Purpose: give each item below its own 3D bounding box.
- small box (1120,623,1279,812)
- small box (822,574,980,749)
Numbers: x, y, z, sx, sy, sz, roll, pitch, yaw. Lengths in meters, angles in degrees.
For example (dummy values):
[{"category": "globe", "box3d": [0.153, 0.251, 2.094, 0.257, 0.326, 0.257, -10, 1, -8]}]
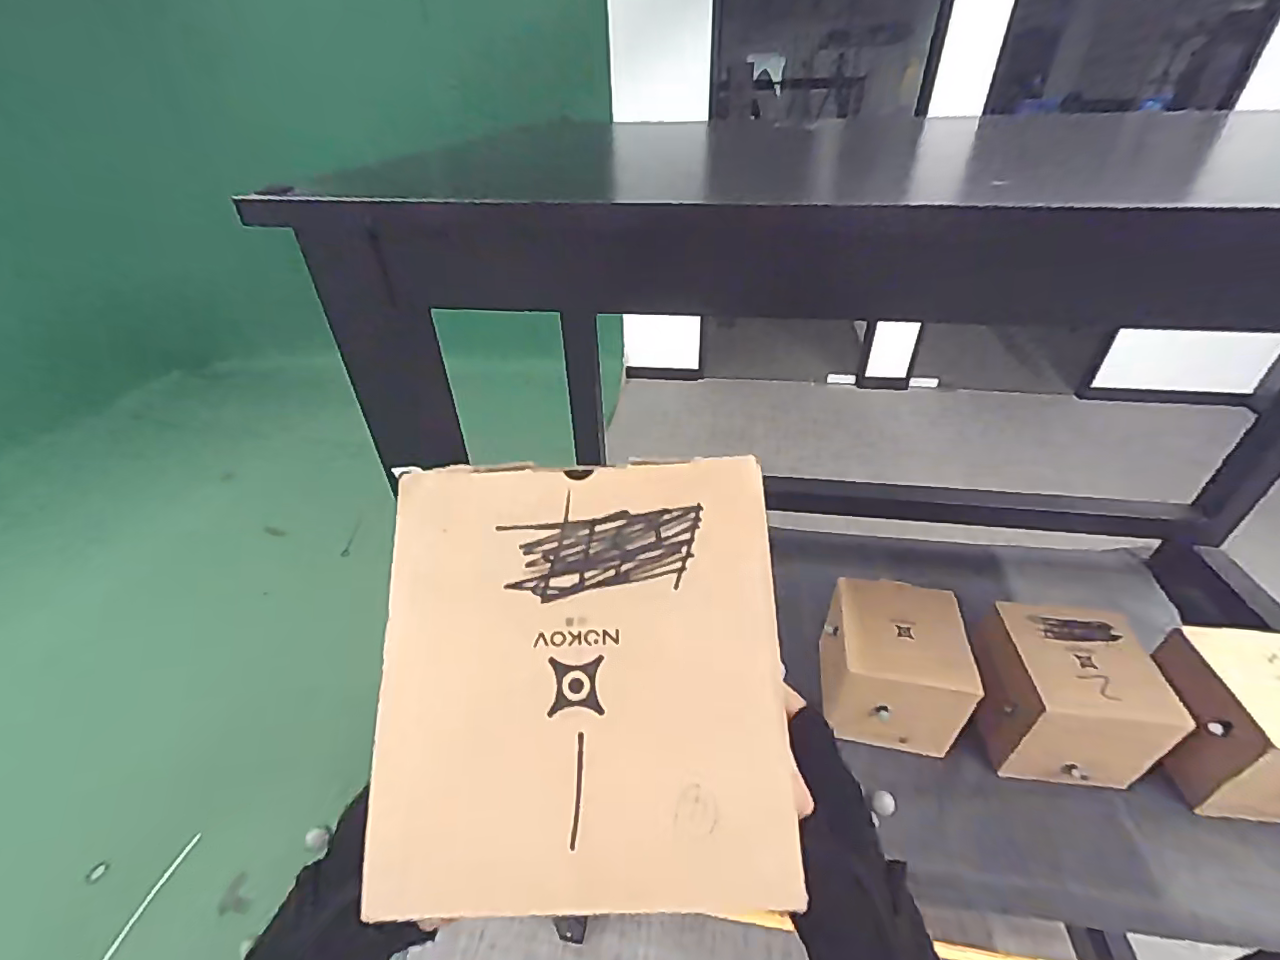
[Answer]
[{"category": "small box", "box3d": [0.809, 0.317, 0.718, 0.168, 0.176, 0.179, 3, 37, 6]}, {"category": "small box", "box3d": [0.372, 0.270, 0.807, 0.168, 0.176, 0.179, 6, 37, 11]}]
